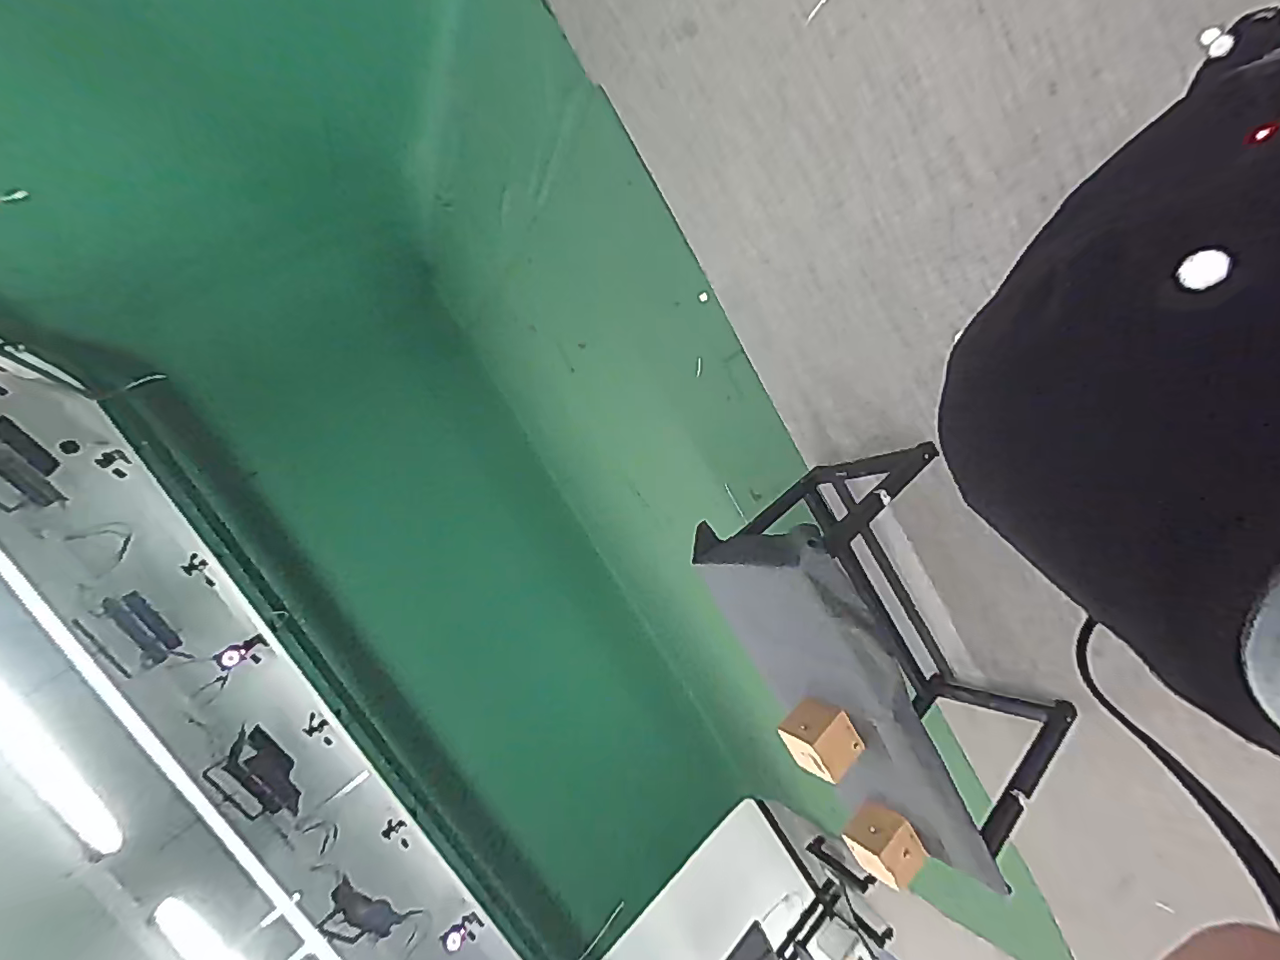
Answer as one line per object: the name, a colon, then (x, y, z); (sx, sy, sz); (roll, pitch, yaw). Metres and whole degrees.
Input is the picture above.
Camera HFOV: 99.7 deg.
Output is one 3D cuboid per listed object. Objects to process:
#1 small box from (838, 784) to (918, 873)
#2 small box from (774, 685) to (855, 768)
small box: (0.851, 1.224, 1.916); (0.168, 0.176, 0.179); (59, 154, -8)
small box: (0.601, 0.828, 1.840); (0.168, 0.176, 0.179); (58, 156, -10)
